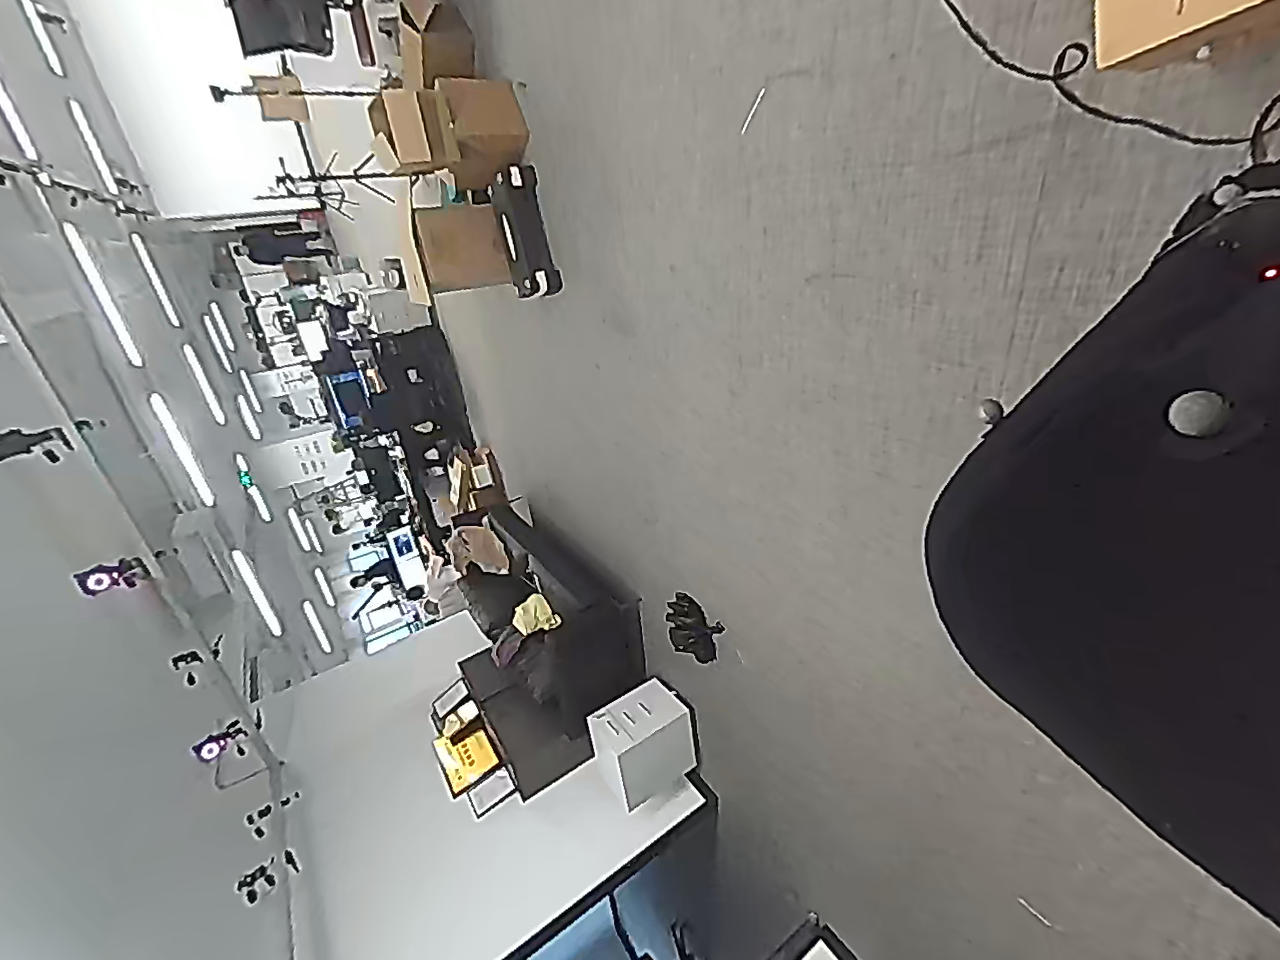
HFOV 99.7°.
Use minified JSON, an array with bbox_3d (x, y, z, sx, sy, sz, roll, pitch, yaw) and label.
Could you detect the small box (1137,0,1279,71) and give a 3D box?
[{"bbox_3d":[0.806,-0.689,0.722,0.168,0.176,0.179,9,116,61],"label":"small box"}]
